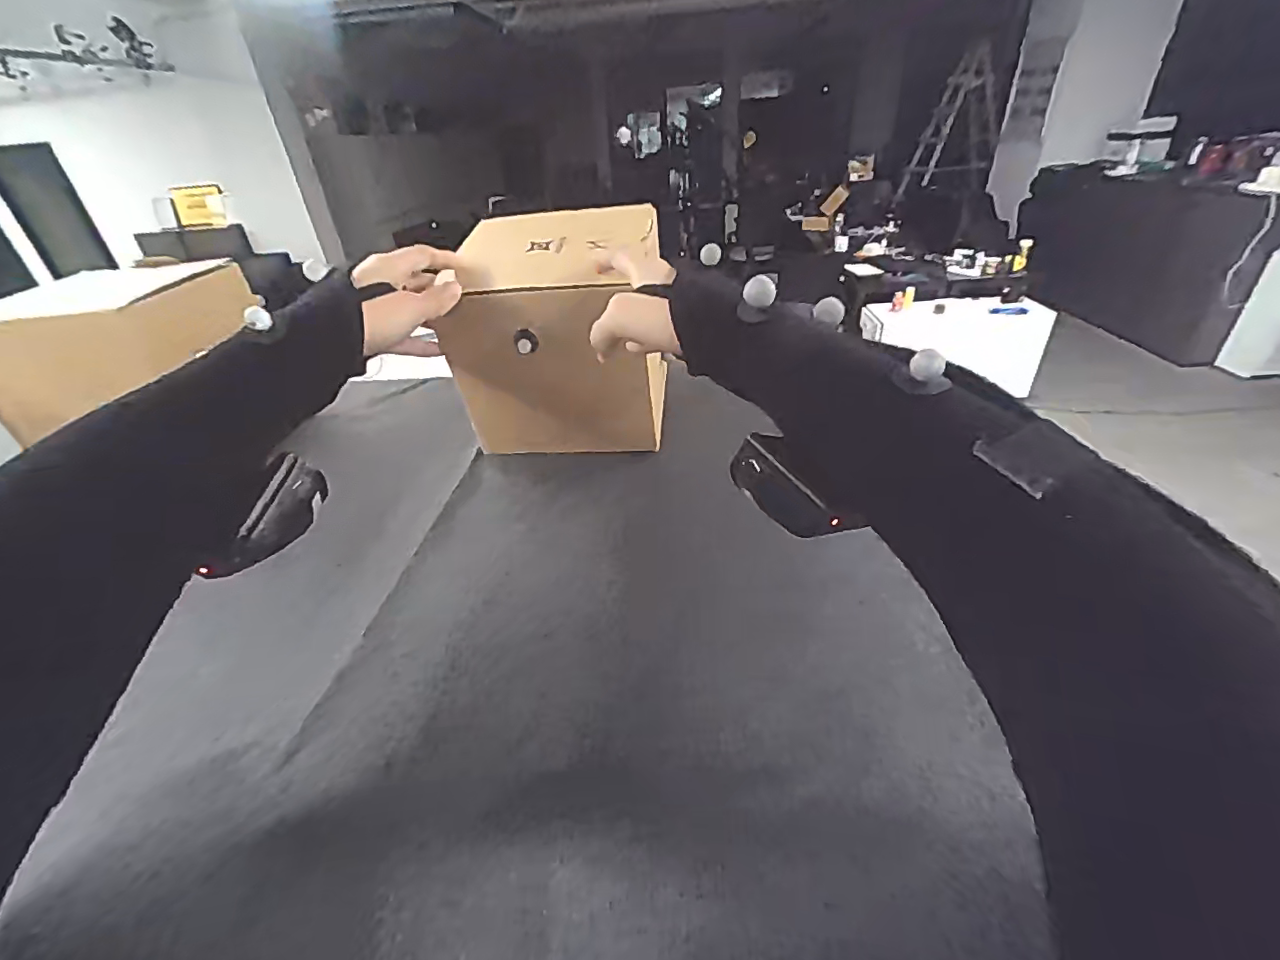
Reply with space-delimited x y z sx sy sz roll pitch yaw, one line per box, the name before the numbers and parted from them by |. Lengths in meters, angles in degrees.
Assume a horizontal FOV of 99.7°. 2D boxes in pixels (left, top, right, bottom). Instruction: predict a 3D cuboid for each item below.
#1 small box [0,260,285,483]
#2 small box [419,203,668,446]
small box | -0.503 -0.115 0.551 0.168 0.176 0.179 -6 32 0
small box | -0.070 -0.144 0.516 0.179 0.176 0.168 0 44 8
